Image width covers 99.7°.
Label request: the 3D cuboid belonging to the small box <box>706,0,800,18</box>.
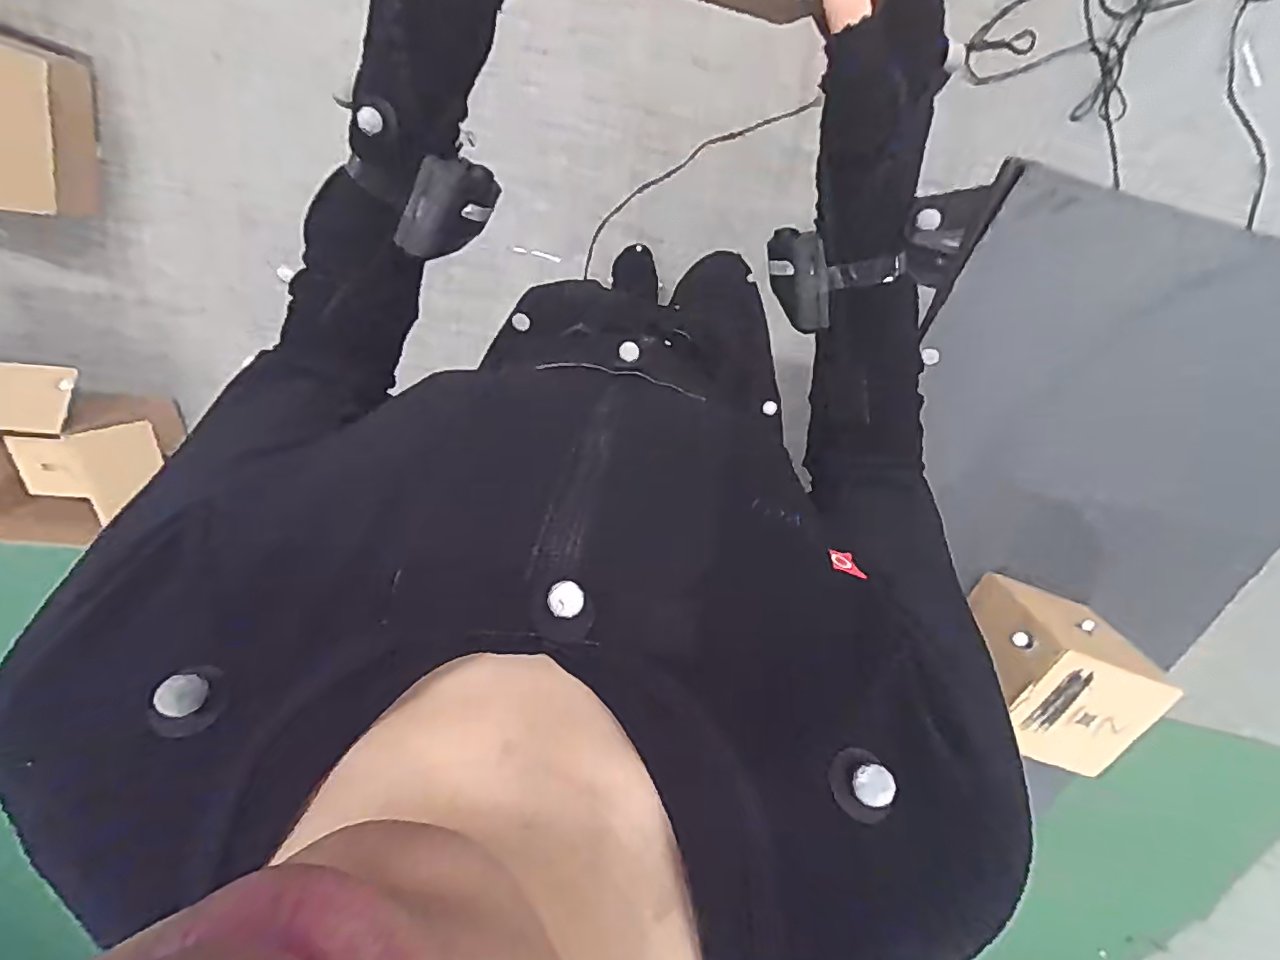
[{"bbox_3d":[0.041,-0.366,0.269,0.168,0.176,0.179,10,125,-8],"label":"small box"}]
